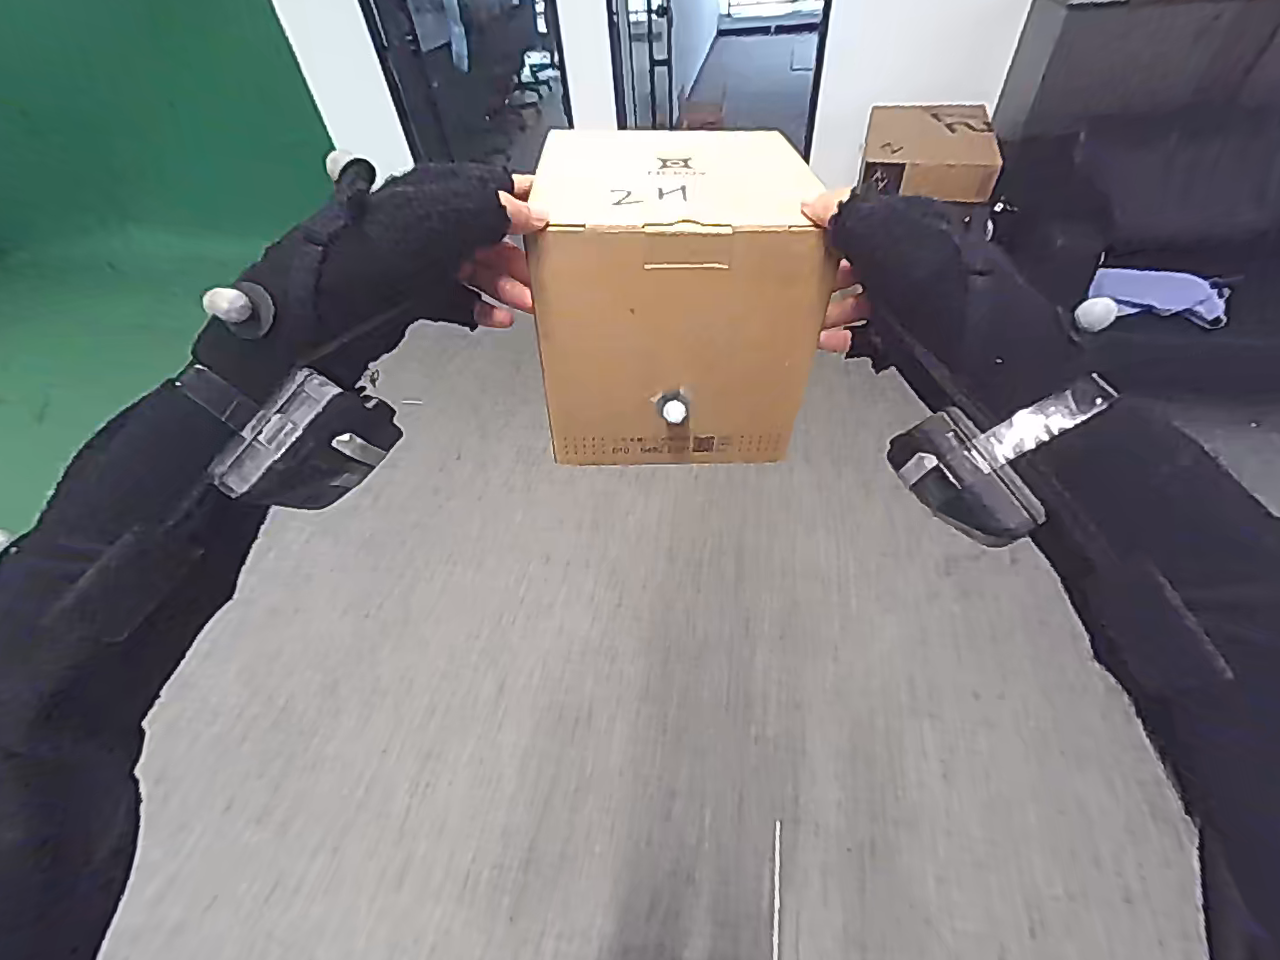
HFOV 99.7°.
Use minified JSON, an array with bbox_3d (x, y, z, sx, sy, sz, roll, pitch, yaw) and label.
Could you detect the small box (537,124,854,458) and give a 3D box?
[{"bbox_3d":[0.026,-0.135,0.388,0.168,0.176,0.179,0,46,-1],"label":"small box"}]
